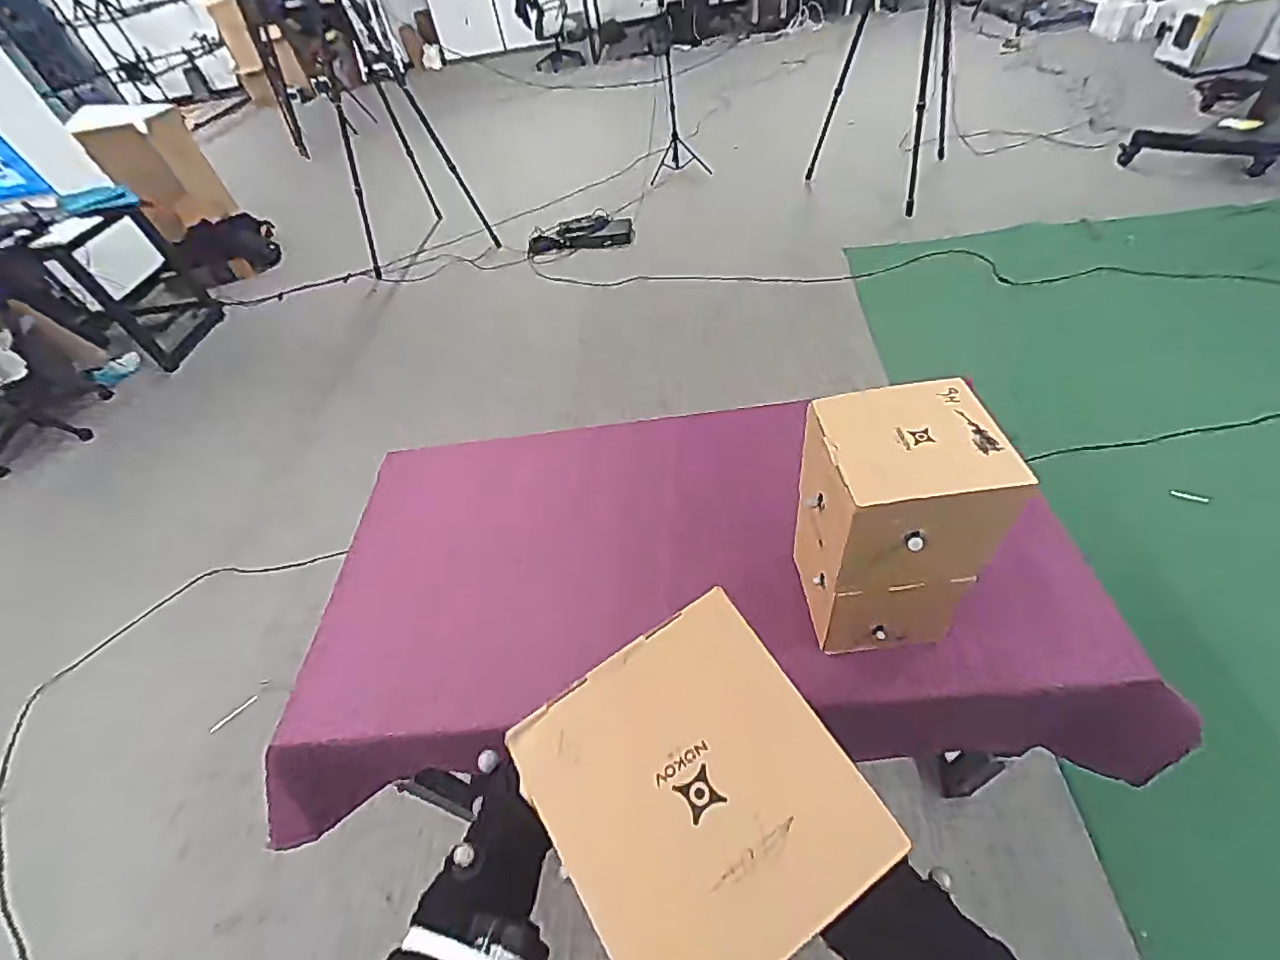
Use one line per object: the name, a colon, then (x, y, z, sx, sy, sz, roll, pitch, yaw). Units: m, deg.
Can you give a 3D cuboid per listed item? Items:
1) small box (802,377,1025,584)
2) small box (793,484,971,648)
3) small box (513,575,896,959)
small box: (0.296, 0.007, 0.638, 0.179, 0.176, 0.168, -9, 49, 5)
small box: (0.319, 0.113, 0.761, 0.168, 0.176, 0.179, -8, 48, 4)
small box: (0.035, 0.203, 0.391, 0.168, 0.176, 0.179, -31, 66, -11)
